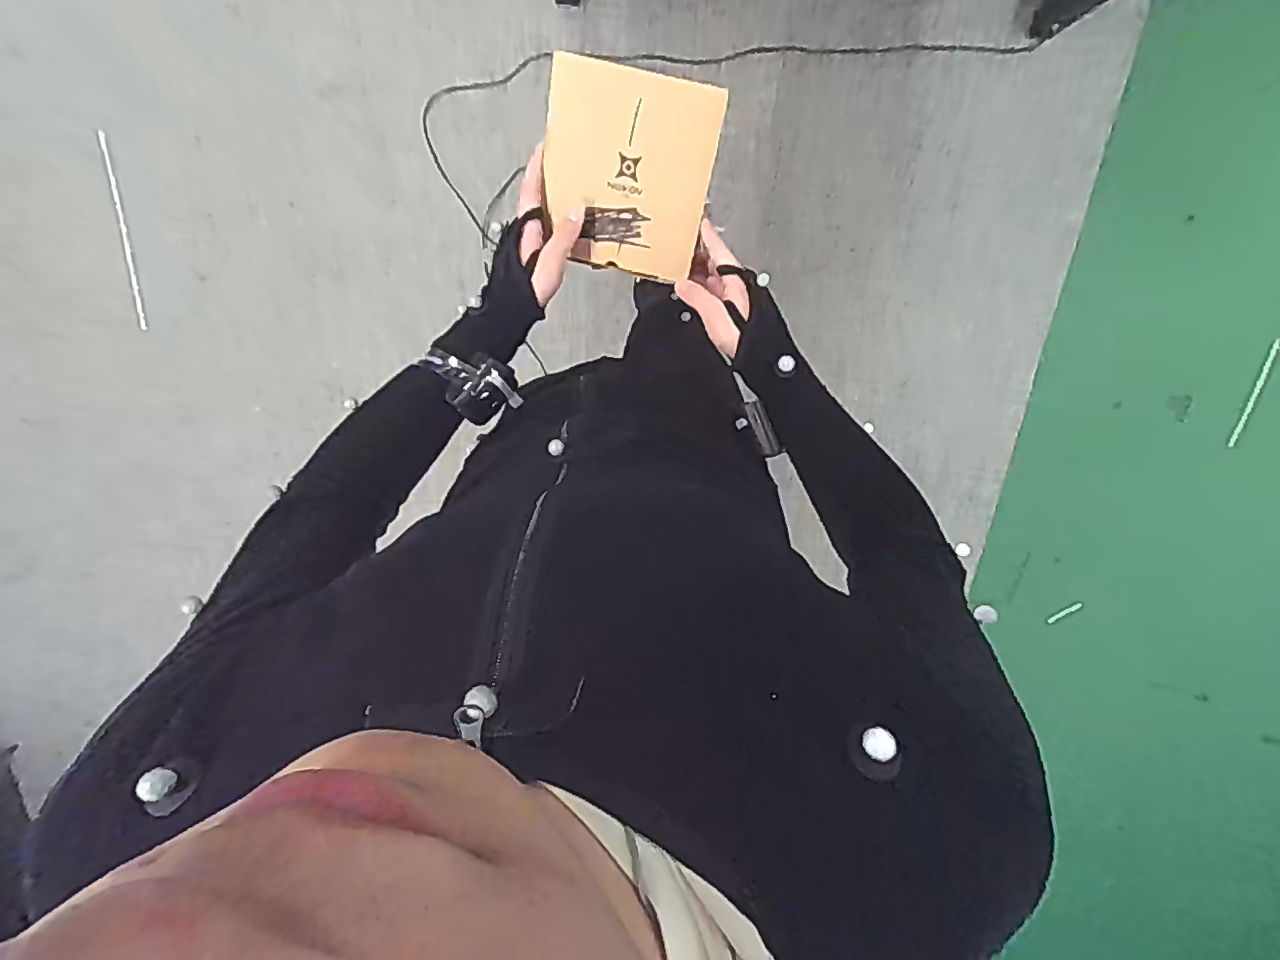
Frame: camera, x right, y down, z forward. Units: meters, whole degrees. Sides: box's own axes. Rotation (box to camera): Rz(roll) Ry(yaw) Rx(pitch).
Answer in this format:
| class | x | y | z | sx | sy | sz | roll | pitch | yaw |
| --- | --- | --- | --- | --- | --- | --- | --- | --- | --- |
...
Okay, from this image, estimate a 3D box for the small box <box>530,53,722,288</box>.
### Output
| class | x | y | z | sx | sy | sz | roll | pitch | yaw |
| --- | --- | --- | --- | --- | --- | --- | --- | --- | --- |
| small box | -0.015 | -0.329 | 0.597 | 0.168 | 0.176 | 0.179 | 11 | 117 | -3 |
